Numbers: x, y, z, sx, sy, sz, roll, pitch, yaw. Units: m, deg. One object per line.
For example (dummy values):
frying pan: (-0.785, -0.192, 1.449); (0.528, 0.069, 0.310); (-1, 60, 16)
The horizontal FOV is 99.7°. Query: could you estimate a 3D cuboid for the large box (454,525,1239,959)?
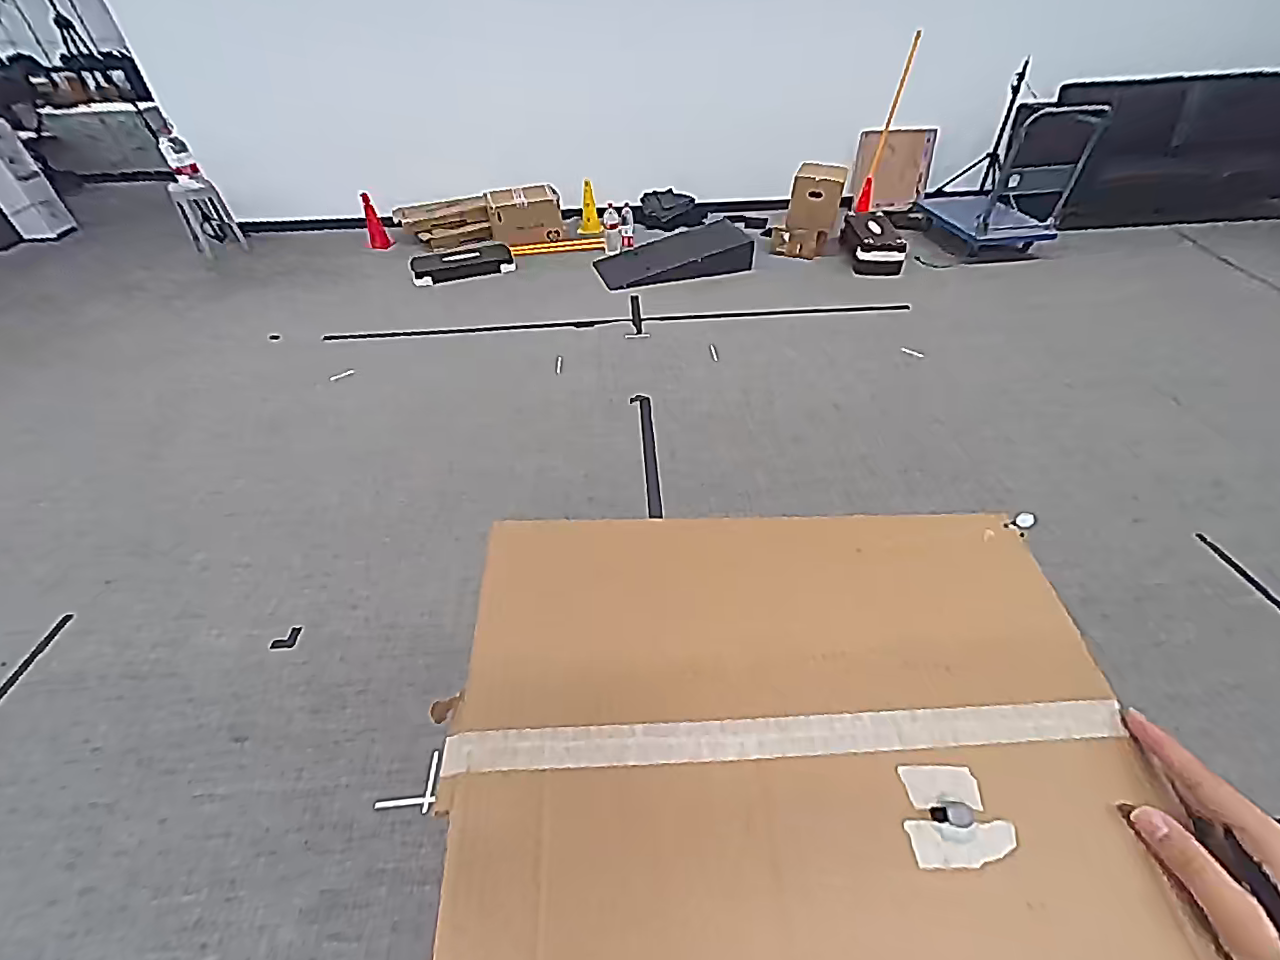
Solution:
large box: (0.090, 0.253, 0.444); (0.408, 0.320, 0.320); (-1, 52, -5)
